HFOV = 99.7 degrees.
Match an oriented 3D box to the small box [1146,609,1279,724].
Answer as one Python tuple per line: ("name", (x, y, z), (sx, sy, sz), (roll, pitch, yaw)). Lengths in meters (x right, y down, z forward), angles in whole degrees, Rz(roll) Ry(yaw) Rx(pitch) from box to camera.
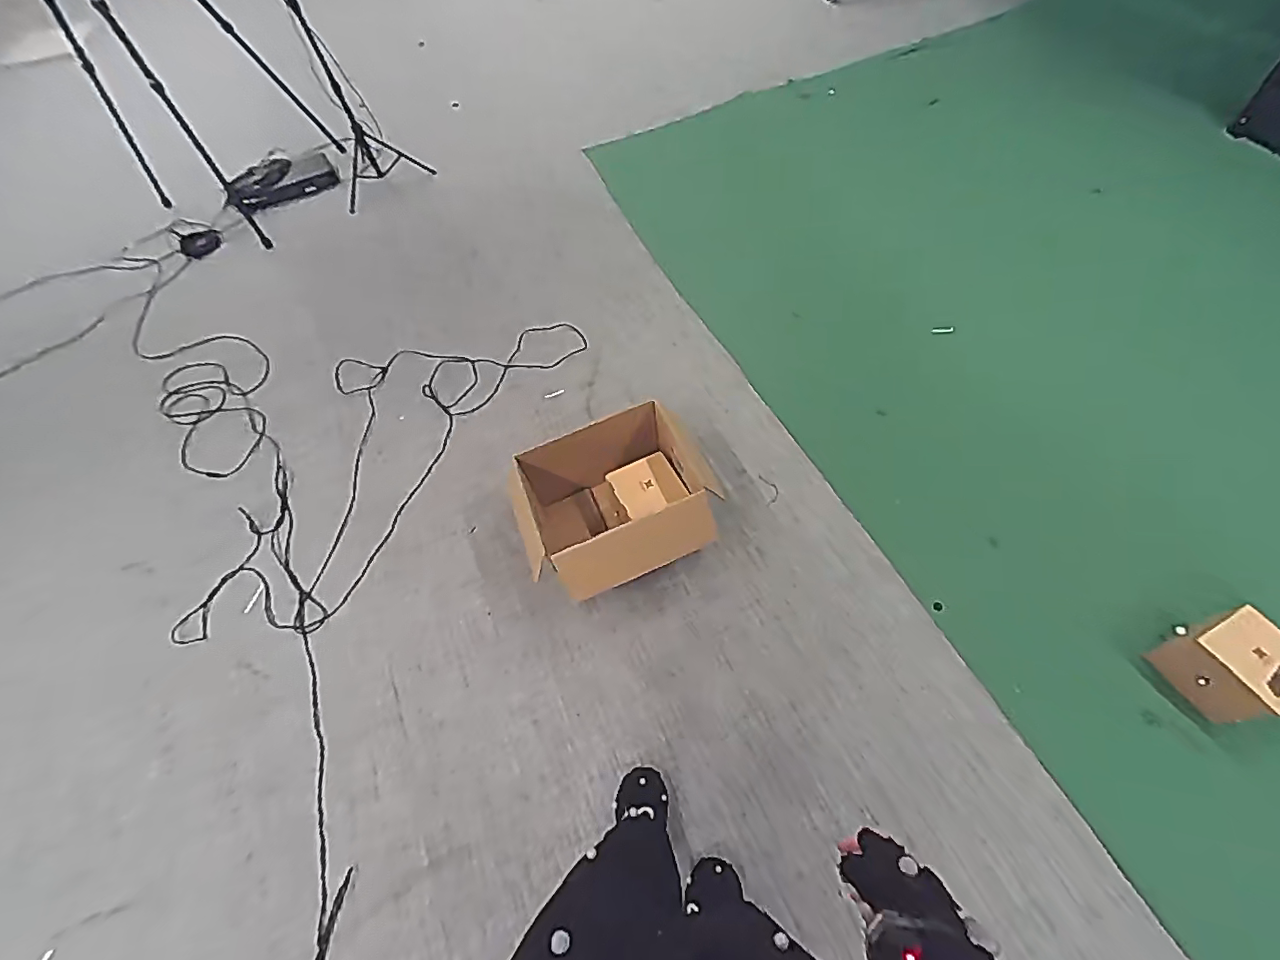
("small box", (1.310, 0.421, 1.200), (0.168, 0.176, 0.179), (-26, 59, -10))
